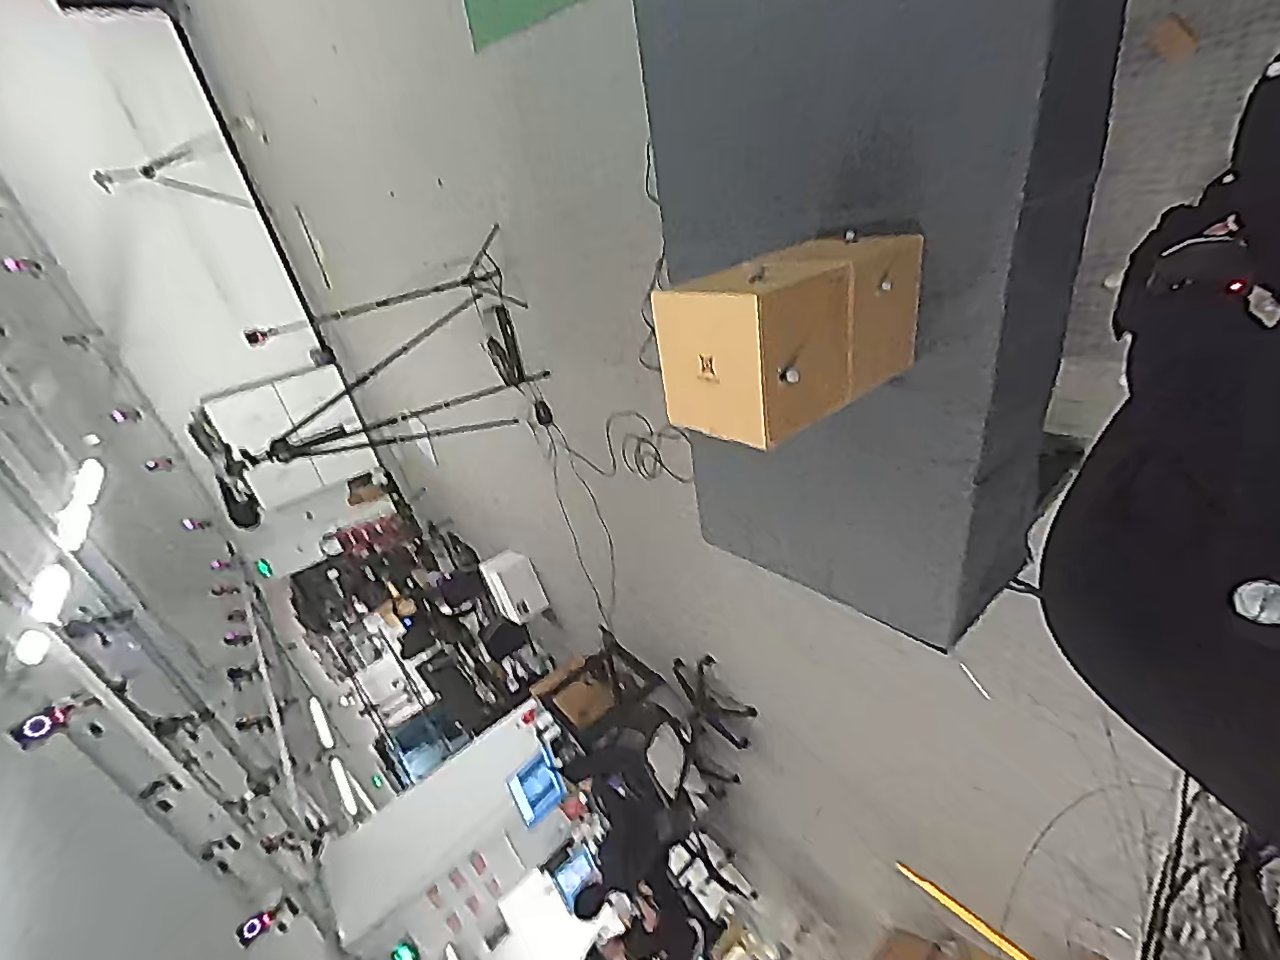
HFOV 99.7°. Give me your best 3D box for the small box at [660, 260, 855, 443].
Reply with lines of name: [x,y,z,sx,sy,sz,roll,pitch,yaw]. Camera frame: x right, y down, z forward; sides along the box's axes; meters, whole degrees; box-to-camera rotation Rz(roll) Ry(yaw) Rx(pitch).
small box: [0.150,-0.172,0.677,0.168,0.176,0.179,23,133,47]
